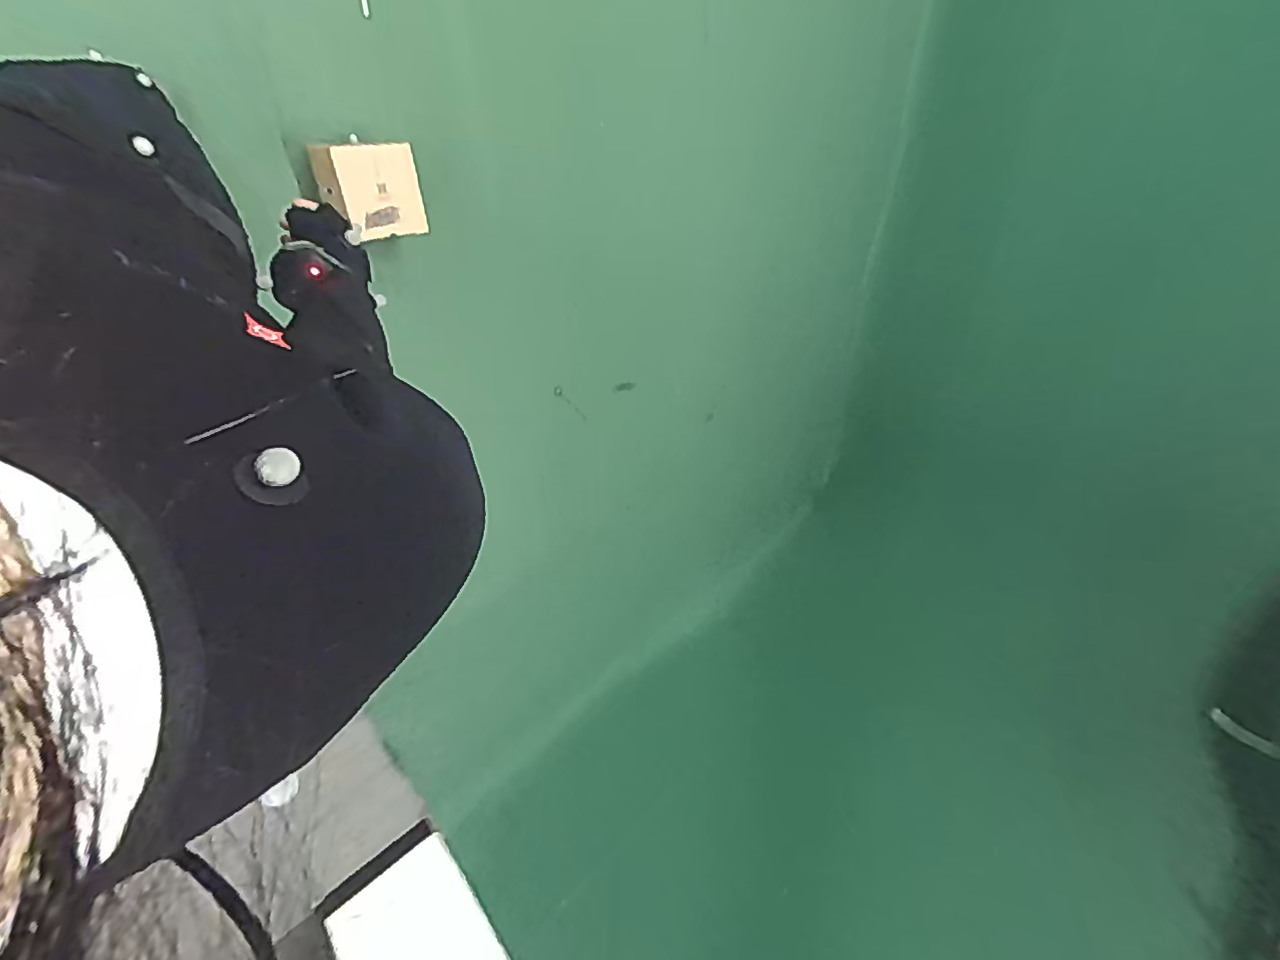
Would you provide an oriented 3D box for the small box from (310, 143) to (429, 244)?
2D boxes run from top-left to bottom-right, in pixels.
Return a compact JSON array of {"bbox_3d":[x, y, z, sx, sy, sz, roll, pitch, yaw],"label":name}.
[{"bbox_3d":[-0.595,-0.637,1.194,0.168,0.176,0.179,-27,132,-33],"label":"small box"}]
